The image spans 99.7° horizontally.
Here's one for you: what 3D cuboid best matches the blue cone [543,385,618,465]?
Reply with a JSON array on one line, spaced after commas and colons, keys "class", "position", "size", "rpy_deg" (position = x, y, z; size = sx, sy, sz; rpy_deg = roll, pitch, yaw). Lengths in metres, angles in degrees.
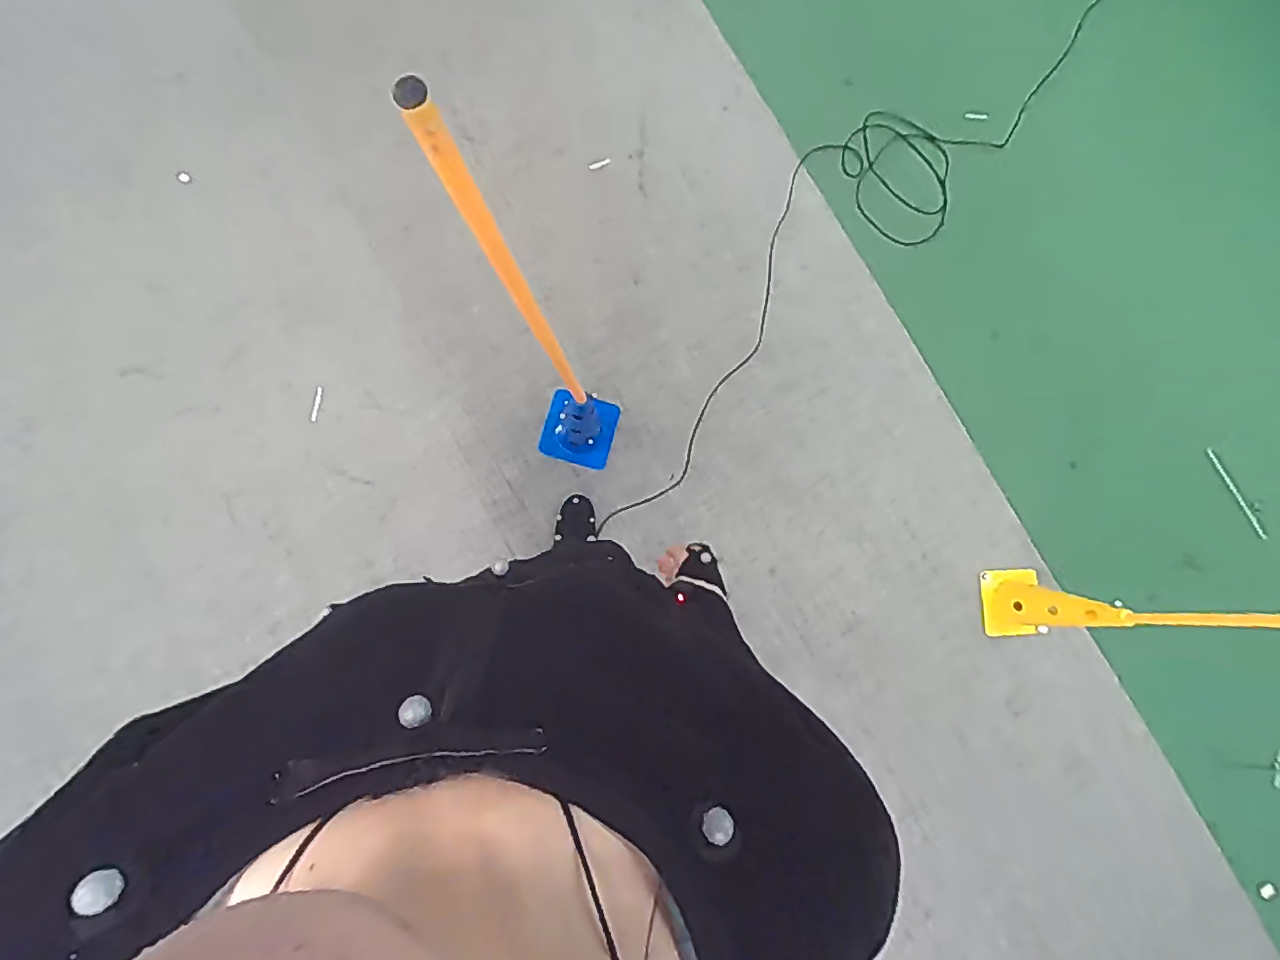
[{"class": "blue cone", "position": [-0.151, -0.163, 1.366], "size": [0.193, 0.380, 0.192], "rpy_deg": [15, 83, -5]}]
